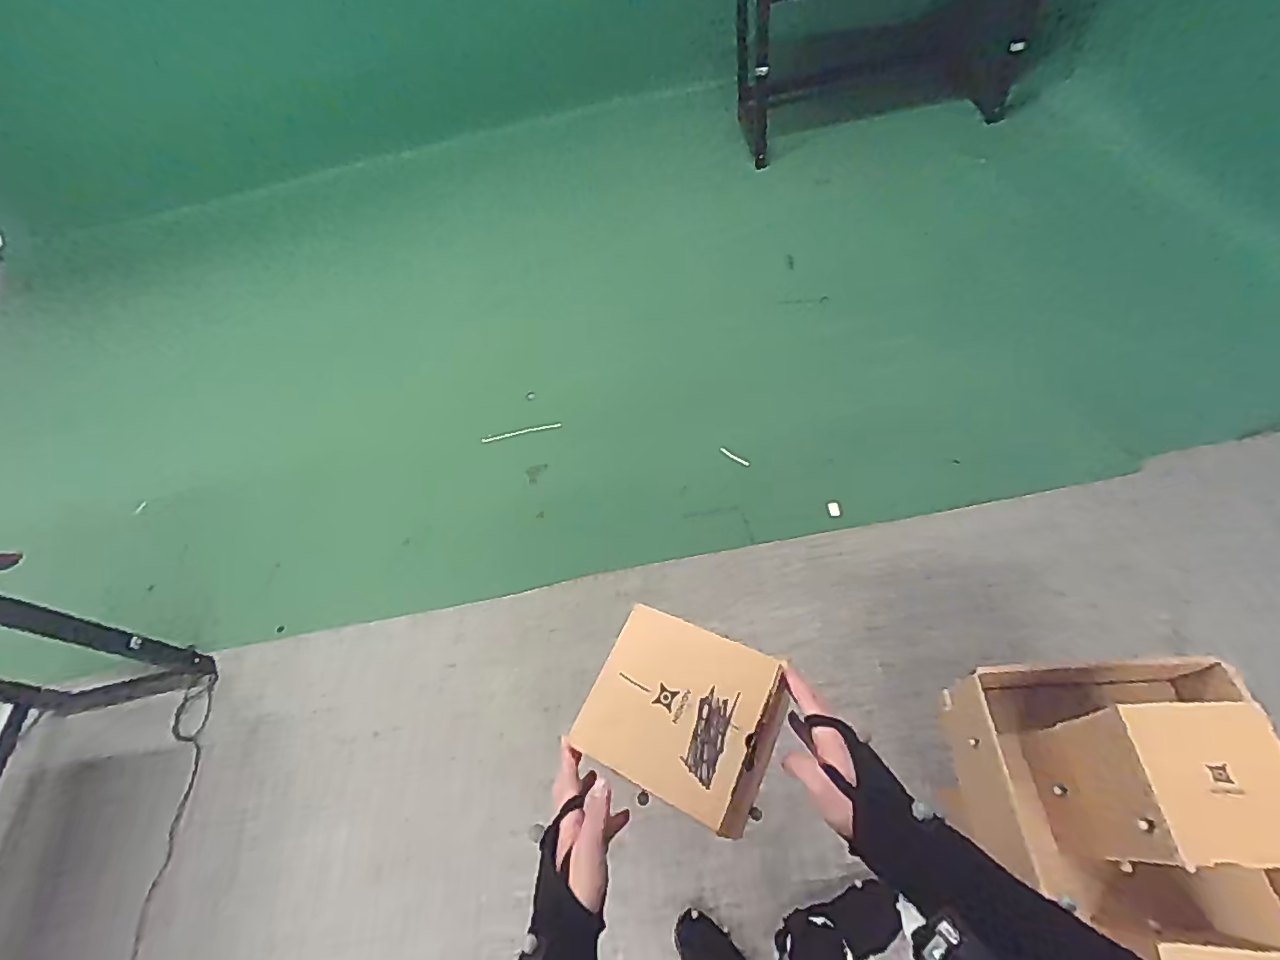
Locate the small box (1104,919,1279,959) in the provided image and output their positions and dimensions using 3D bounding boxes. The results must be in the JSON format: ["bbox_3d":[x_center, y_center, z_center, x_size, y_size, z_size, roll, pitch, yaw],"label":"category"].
[{"bbox_3d":[0.765,0.704,0.714,0.179,0.176,0.168,-3,59,11],"label":"small box"}]

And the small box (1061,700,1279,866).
[{"bbox_3d":[0.713,0.400,0.720,0.168,0.176,0.179,-5,60,9],"label":"small box"}]
